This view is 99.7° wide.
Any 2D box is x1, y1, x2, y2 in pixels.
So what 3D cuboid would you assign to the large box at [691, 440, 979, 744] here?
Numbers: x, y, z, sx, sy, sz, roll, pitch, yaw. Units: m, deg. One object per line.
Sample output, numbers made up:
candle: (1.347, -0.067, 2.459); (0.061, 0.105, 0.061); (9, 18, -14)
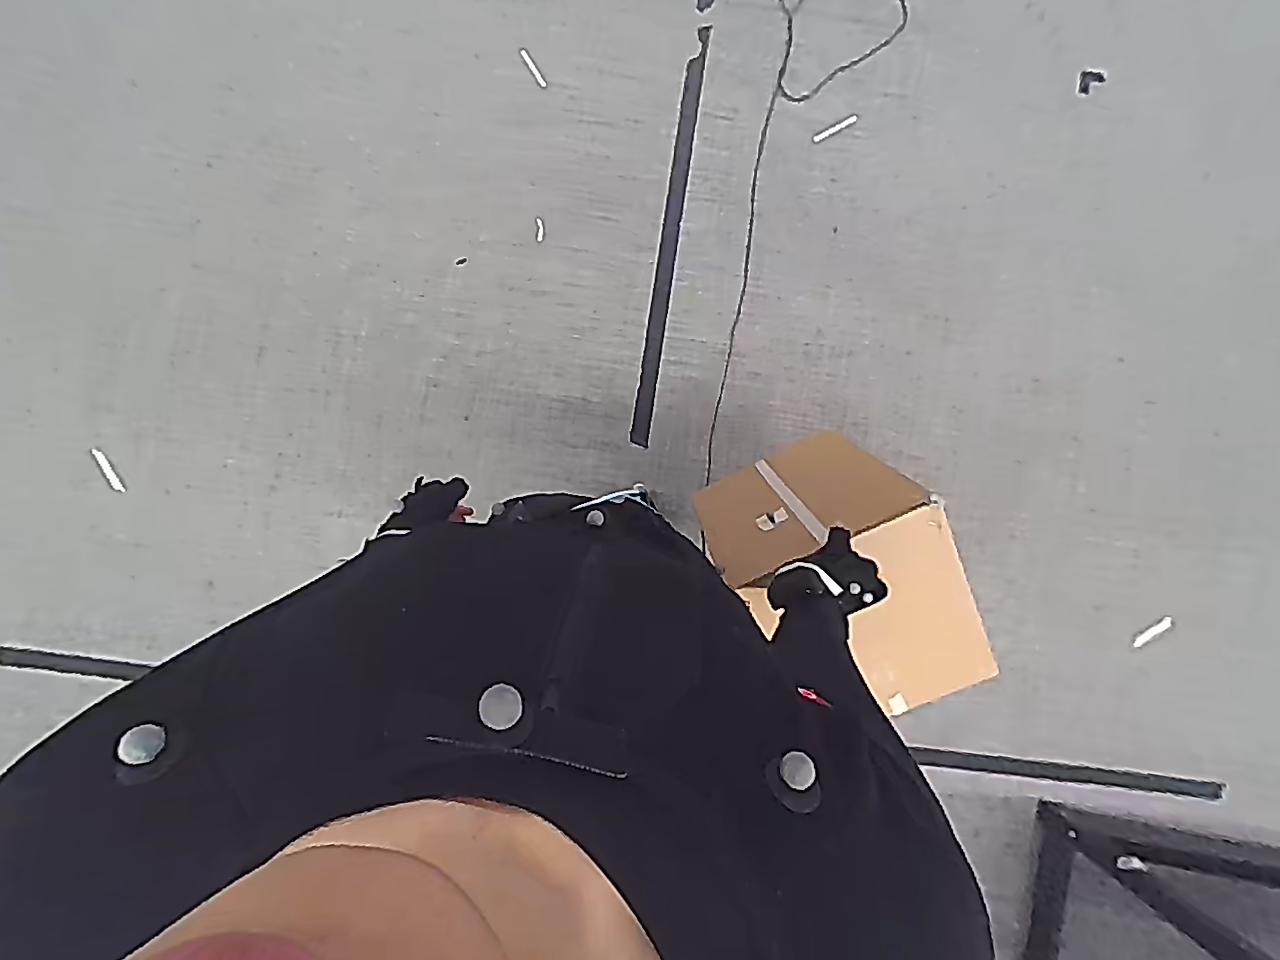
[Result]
large box: (0.312, 0.169, 0.972); (0.320, 0.408, 0.320); (-25, 108, 6)
